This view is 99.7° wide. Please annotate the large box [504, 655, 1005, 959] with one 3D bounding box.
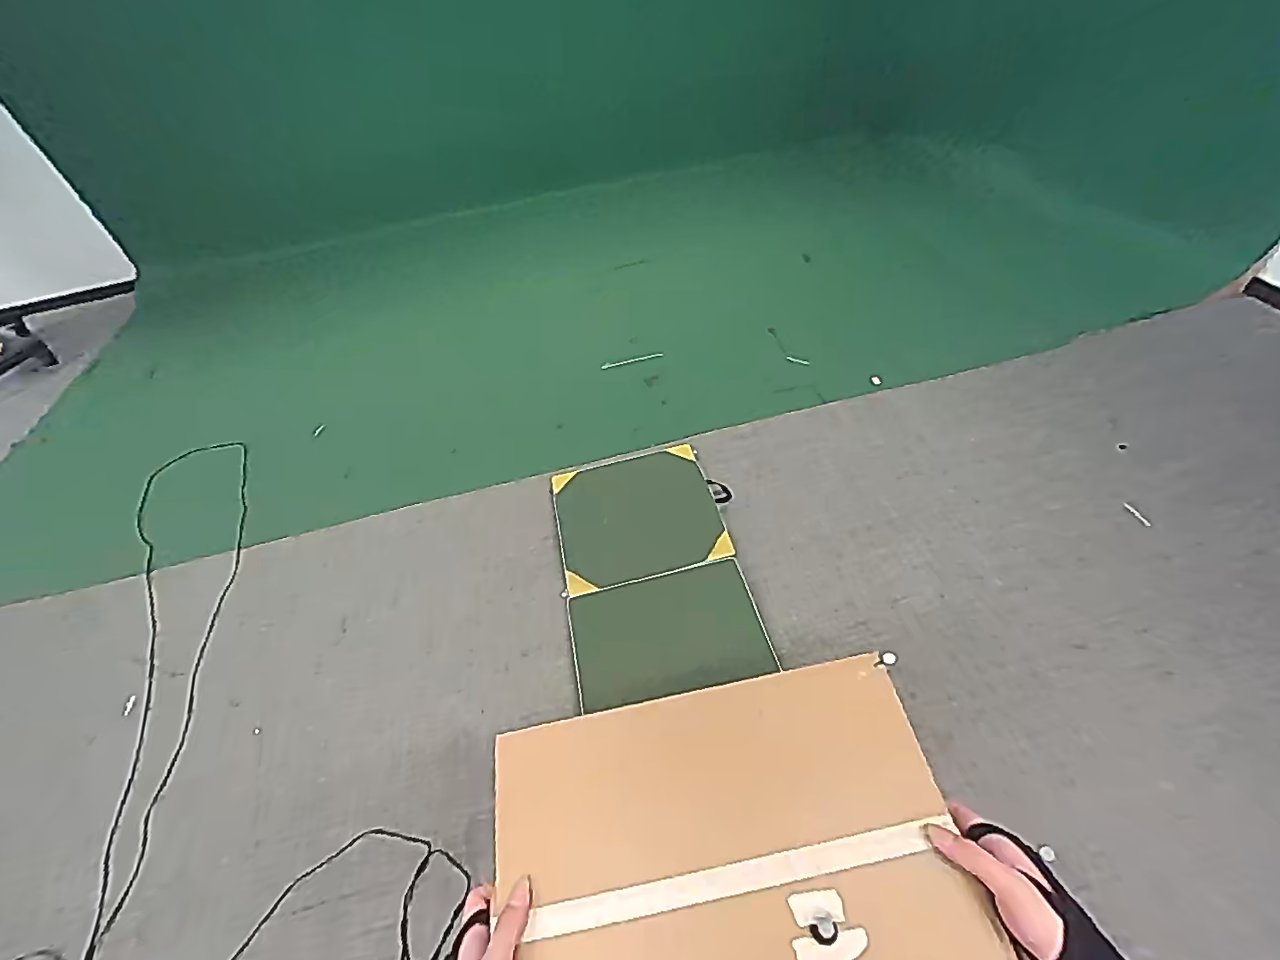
[{"bbox_3d":[0.094,0.436,0.600,0.408,0.320,0.320,-12,55,-1],"label":"large box"}]
